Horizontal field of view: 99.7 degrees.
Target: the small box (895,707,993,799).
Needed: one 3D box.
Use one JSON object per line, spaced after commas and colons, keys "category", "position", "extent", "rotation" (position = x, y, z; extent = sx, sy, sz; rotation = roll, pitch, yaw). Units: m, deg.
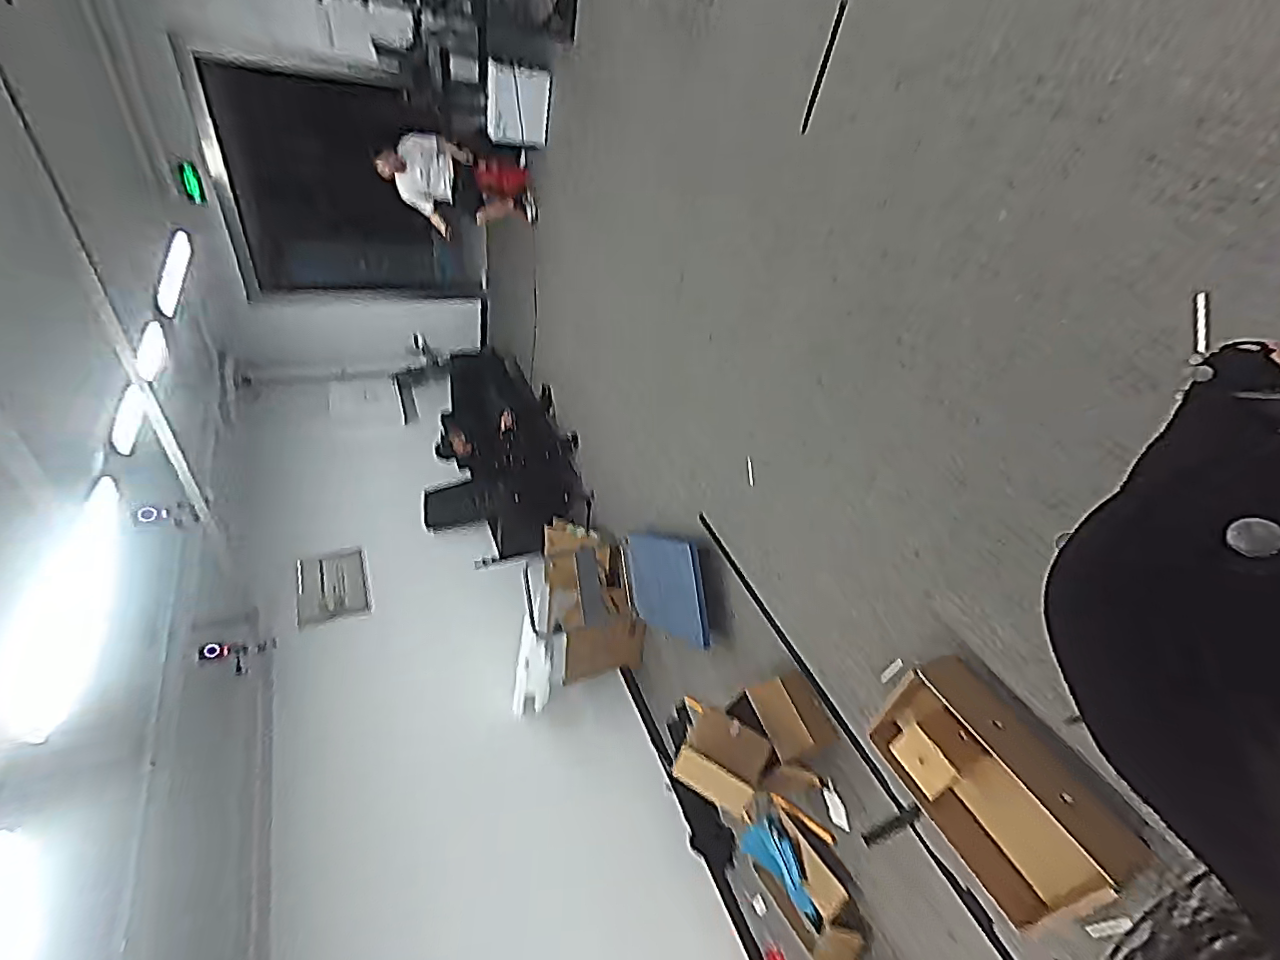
{"category": "small box", "position": [0.939, 0.839, 1.668], "extent": [0.168, 0.176, 0.179], "rotation": [54, 144, 42]}
